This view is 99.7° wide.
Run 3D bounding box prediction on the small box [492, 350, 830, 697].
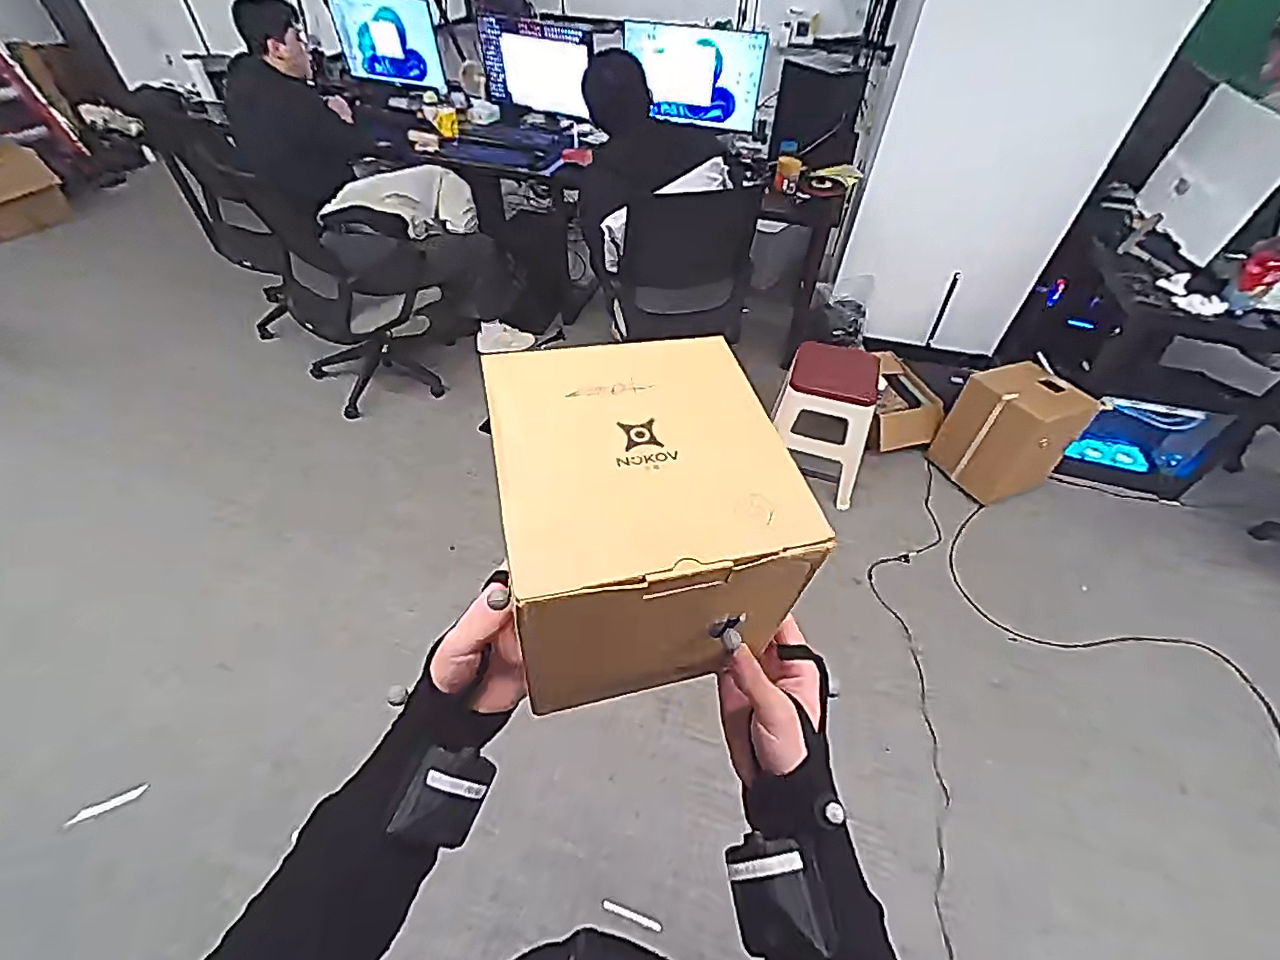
[{"bbox_3d":[-0.005,0.034,0.380,0.168,0.176,0.179,-8,52,-16],"label":"small box"}]
